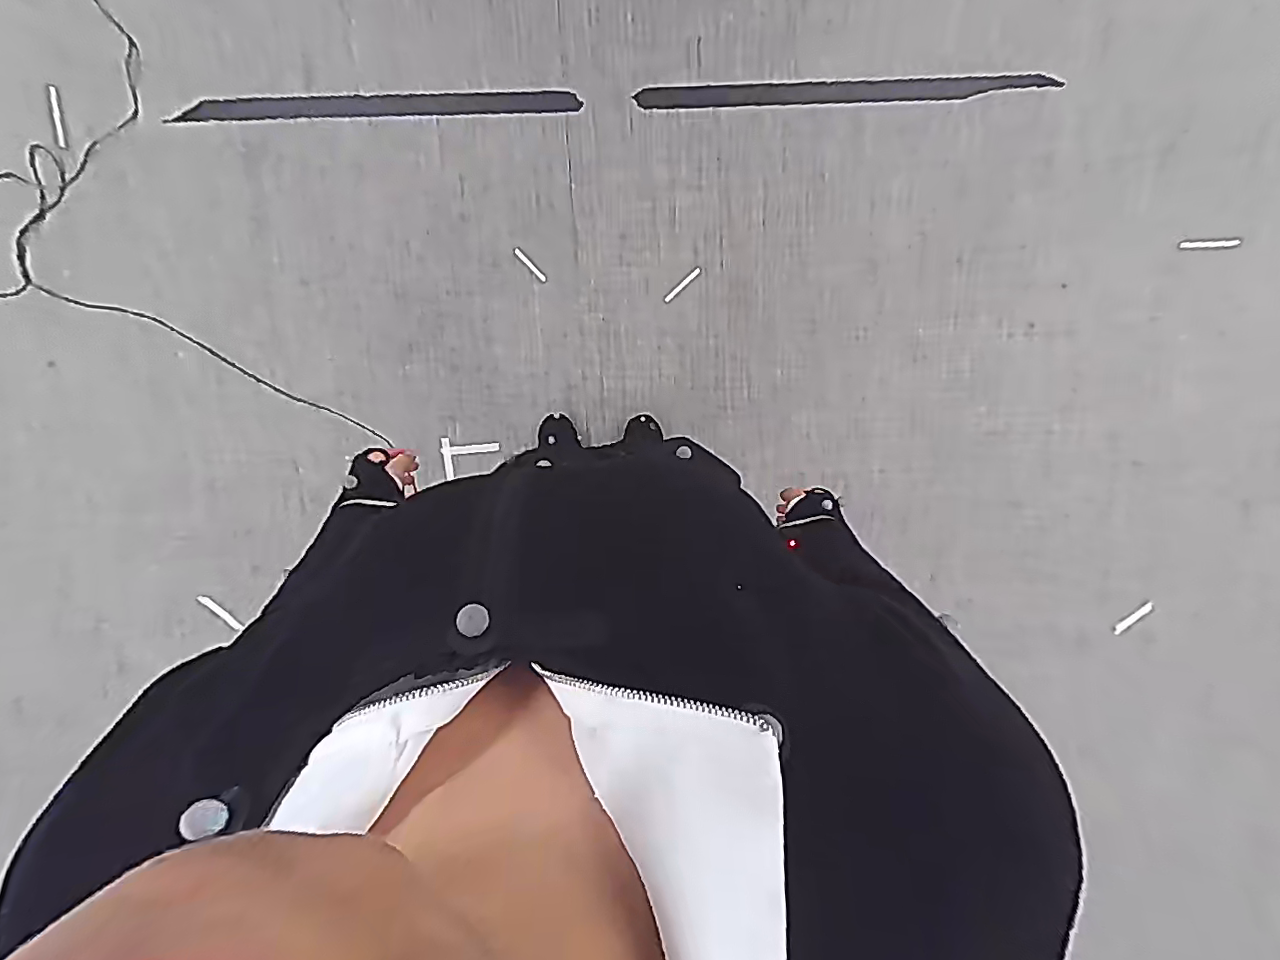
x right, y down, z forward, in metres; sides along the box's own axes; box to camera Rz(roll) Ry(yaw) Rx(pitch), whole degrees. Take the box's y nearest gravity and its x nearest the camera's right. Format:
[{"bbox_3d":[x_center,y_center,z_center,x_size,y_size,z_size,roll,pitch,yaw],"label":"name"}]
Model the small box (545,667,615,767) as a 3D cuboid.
[{"bbox_3d":[-0.151,0.607,1.395,0.168,0.176,0.179,1,99,-1],"label":"small box"}]
